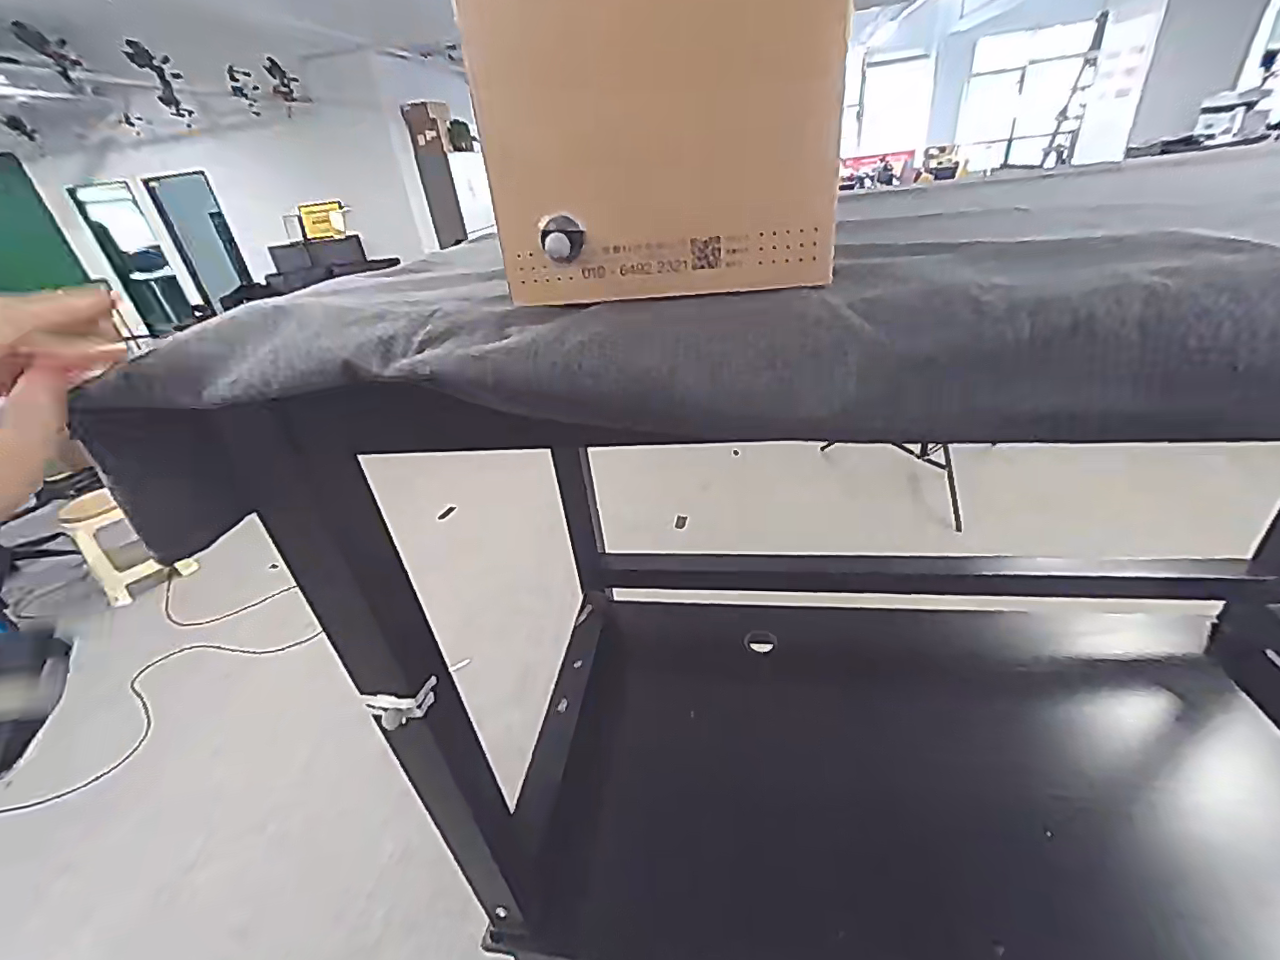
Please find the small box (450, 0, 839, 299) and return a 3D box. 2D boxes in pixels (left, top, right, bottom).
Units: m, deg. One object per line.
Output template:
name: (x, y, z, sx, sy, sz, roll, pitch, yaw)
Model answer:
small box: (0.014, -0.204, 0.312, 0.168, 0.176, 0.179, -2, 28, 8)
